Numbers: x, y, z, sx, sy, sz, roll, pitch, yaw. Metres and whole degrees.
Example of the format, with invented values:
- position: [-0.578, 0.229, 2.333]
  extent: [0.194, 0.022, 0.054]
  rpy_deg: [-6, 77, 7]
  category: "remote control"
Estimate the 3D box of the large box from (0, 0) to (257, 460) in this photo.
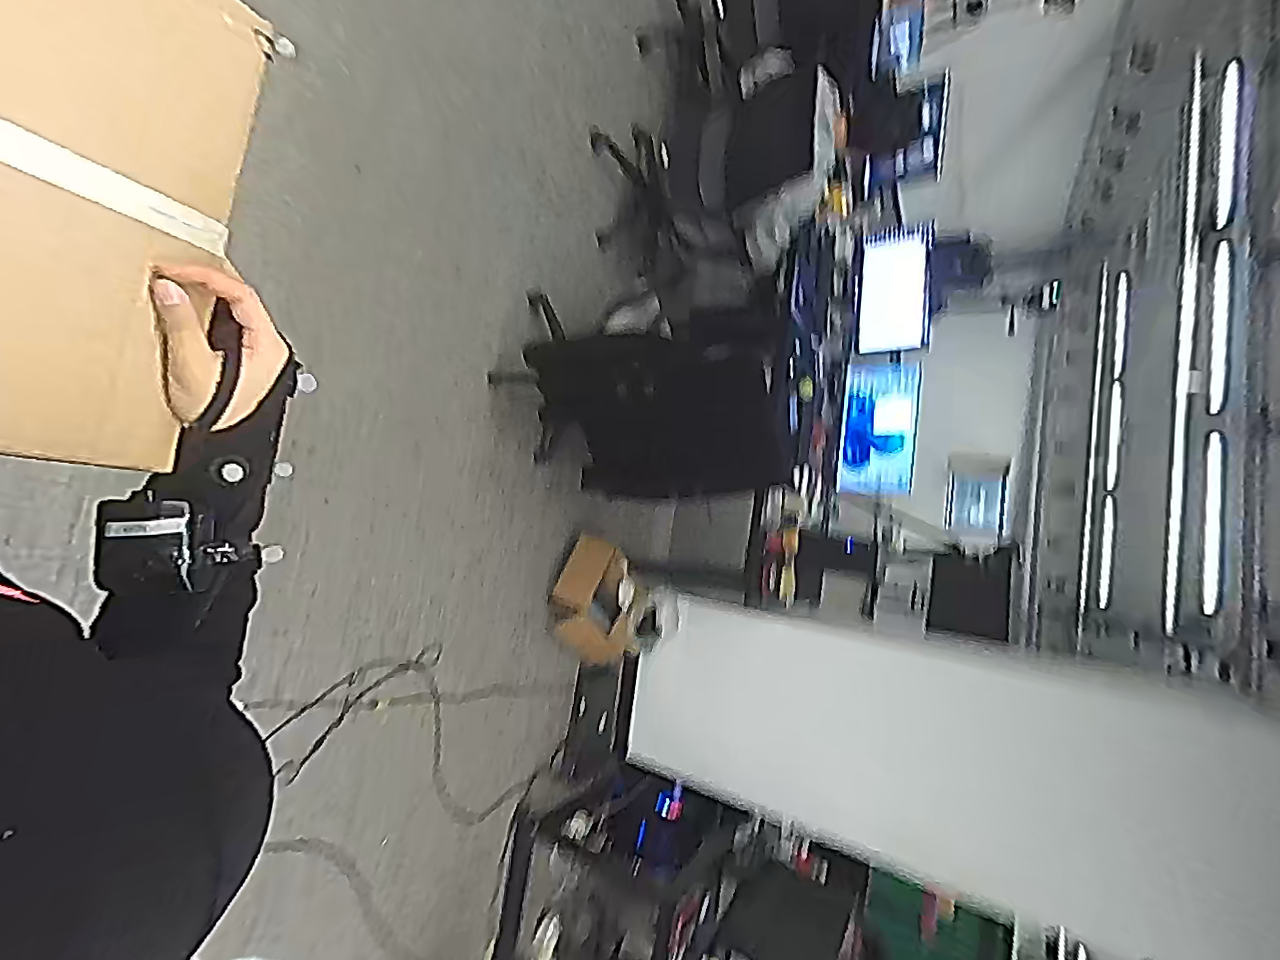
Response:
- position: [-0.511, -0.199, 0.268]
  extent: [0.408, 0.320, 0.320]
  rpy_deg: [14, 85, -61]
  category: "large box"
